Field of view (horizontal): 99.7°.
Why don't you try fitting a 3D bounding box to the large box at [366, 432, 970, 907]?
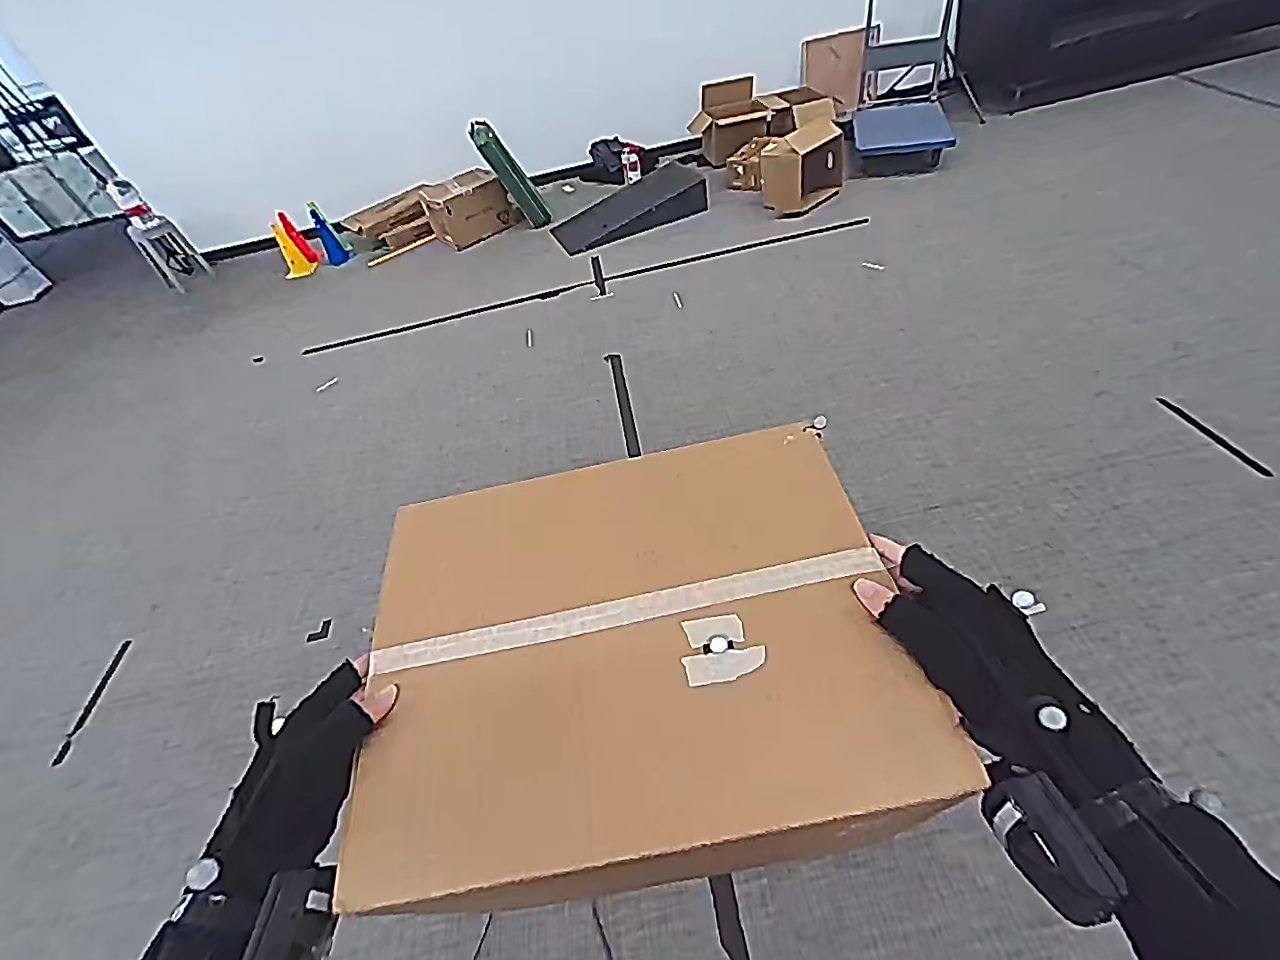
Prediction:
[{"bbox_3d":[0.014,0.201,0.550,0.408,0.320,0.320,-12,51,1],"label":"large box"}]
